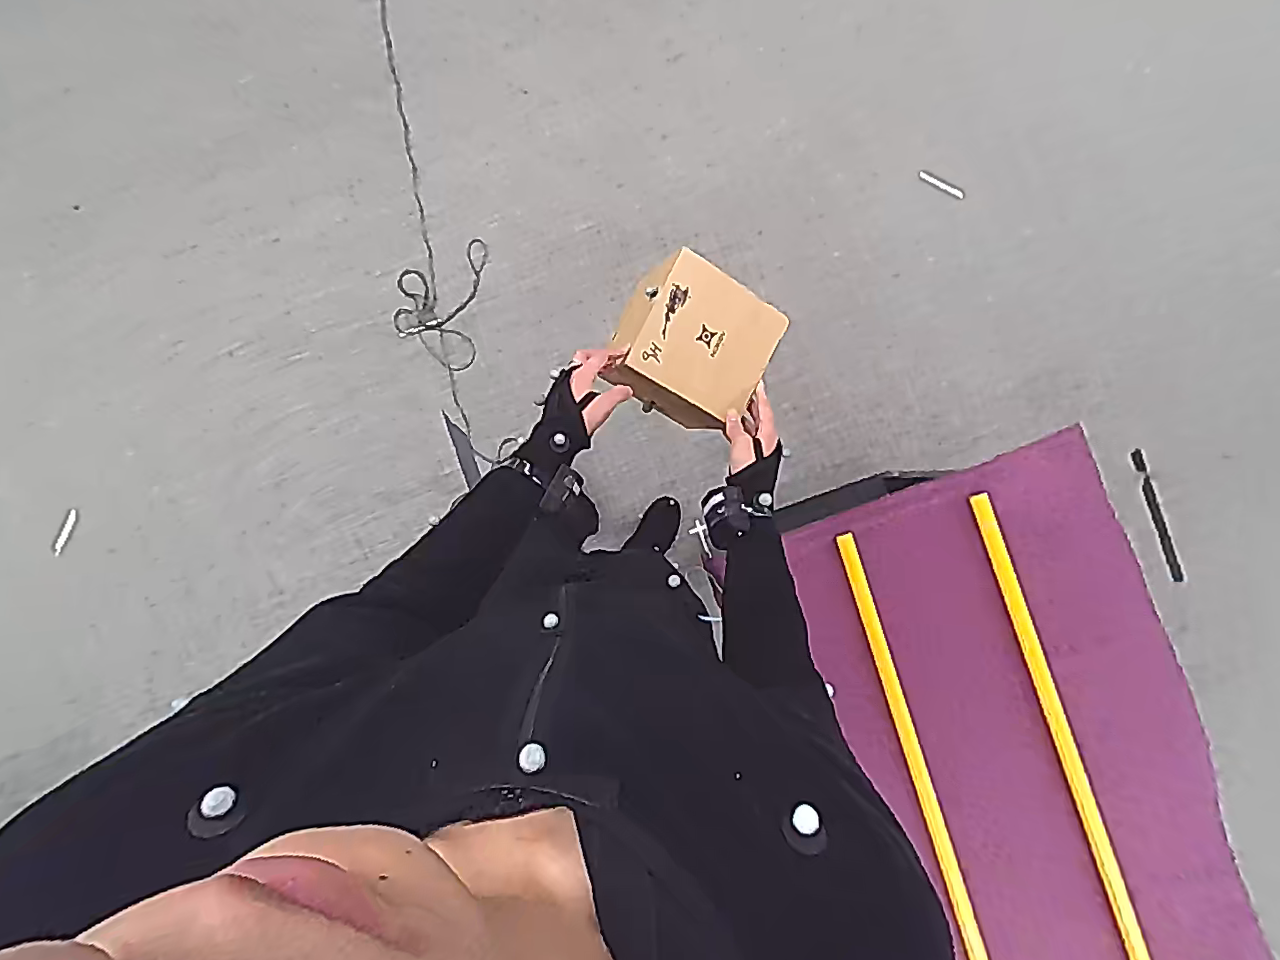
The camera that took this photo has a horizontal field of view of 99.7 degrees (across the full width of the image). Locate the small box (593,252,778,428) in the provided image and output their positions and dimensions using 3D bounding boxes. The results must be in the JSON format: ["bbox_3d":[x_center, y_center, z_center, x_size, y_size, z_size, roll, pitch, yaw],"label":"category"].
[{"bbox_3d":[0.056,-0.190,0.776,0.179,0.176,0.168,27,88,-19],"label":"small box"}]
